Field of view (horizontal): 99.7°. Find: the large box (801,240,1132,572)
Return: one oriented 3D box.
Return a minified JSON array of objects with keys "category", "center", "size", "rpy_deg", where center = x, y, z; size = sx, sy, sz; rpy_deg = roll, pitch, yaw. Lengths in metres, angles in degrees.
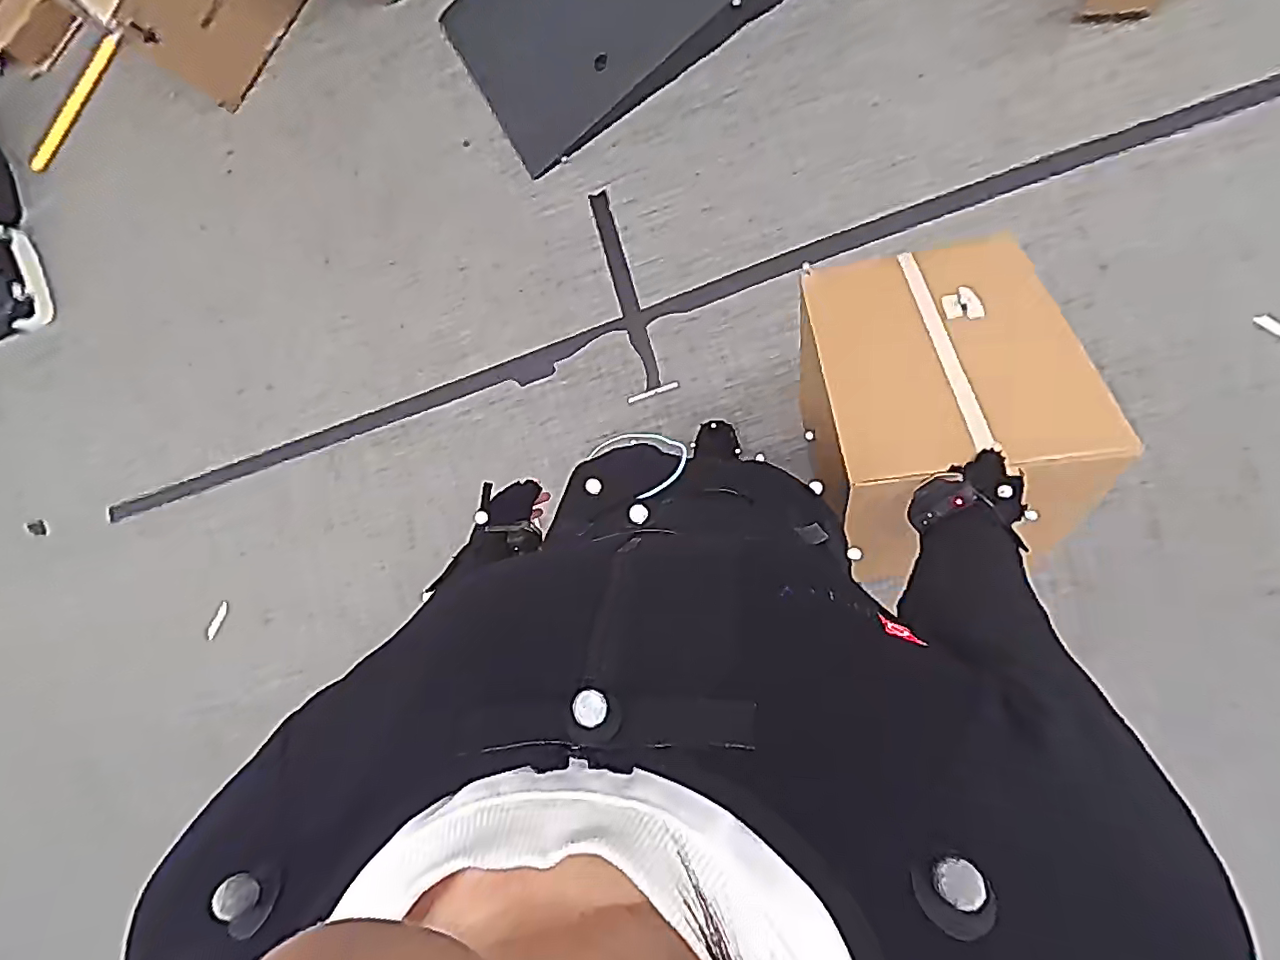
[{"category":"large box","center":[0.450,-0.106,0.873],"size":[0.320,0.320,0.408],"rpy_deg":[-7,57,10]}]
